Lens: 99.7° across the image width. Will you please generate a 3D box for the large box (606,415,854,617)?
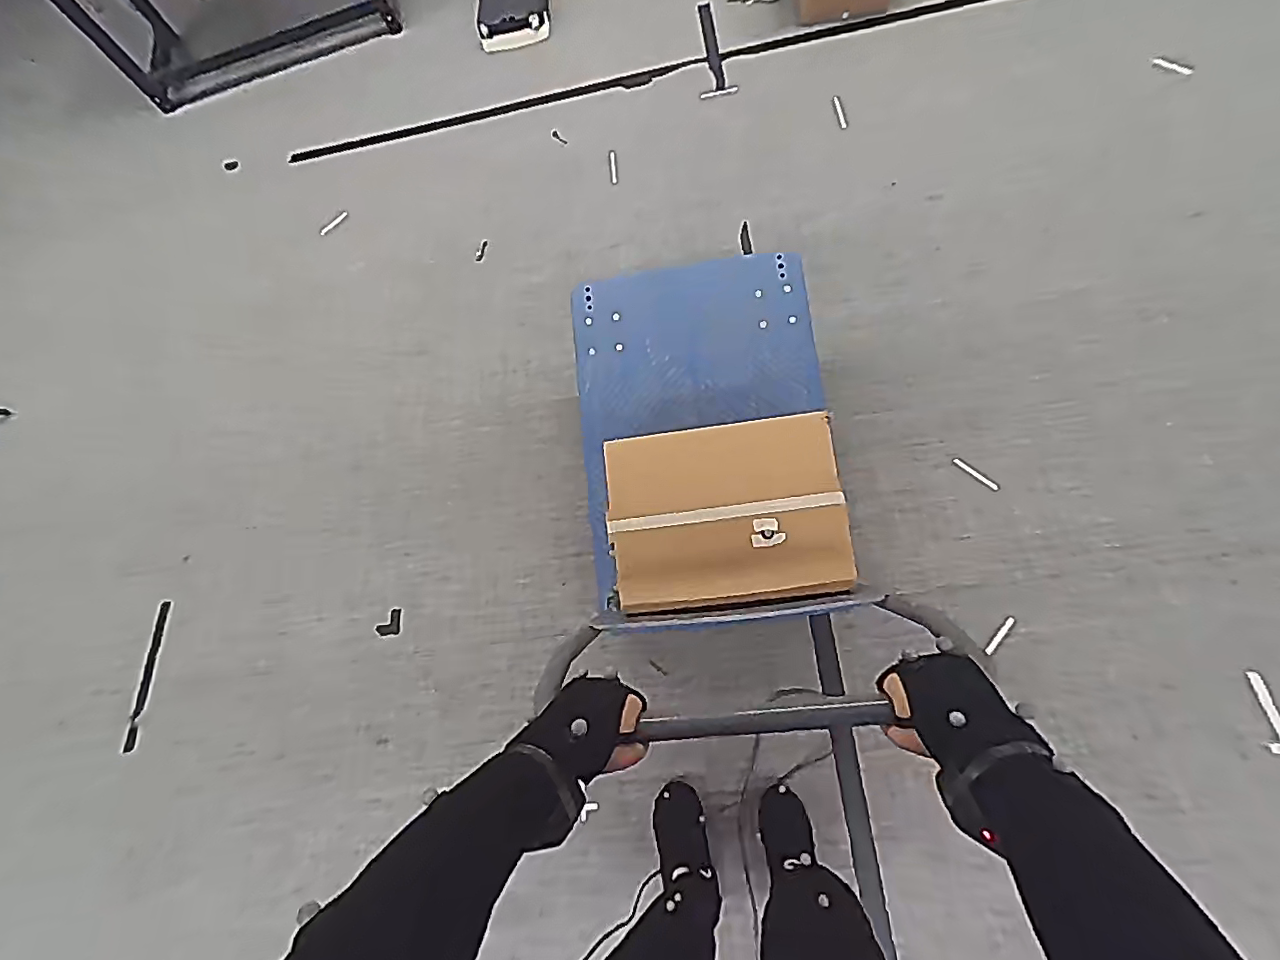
[{"bbox_3d":[0.167,0.087,1.110,0.408,0.320,0.320,-8,81,5],"label":"large box"}]
